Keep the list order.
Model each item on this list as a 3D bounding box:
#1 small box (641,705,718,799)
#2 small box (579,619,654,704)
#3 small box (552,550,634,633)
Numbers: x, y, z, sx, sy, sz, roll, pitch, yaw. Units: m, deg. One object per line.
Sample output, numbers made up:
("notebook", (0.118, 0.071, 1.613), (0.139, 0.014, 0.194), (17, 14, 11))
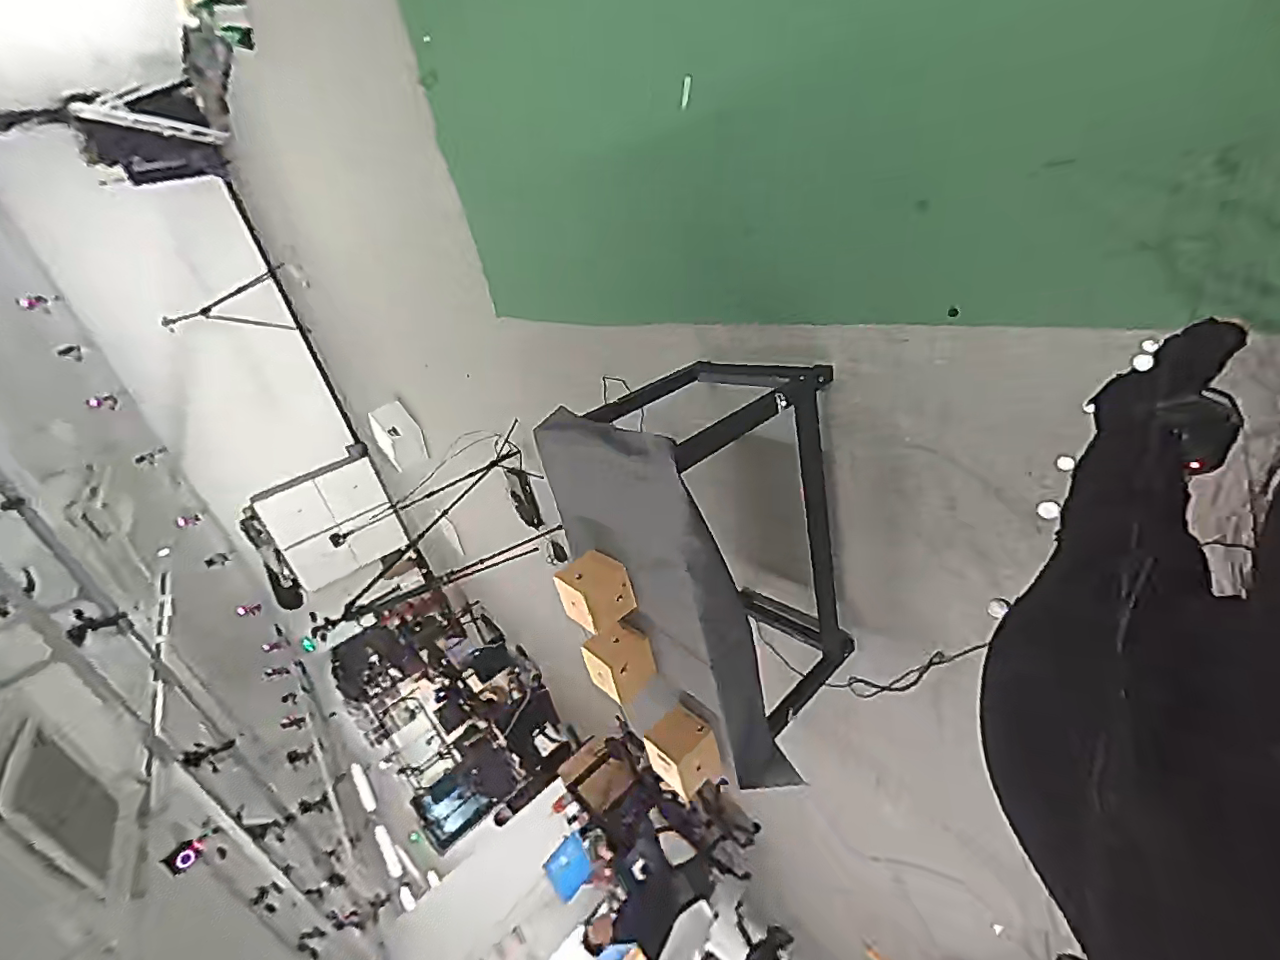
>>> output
("small box", (0.132, 0.871, 1.752), (0.168, 0.176, 0.179), (18, 131, 49))
("small box", (-0.075, 0.602, 1.819), (0.168, 0.176, 0.179), (19, 131, 46))
("small box", (-0.146, 0.344, 1.710), (0.179, 0.176, 0.168), (17, 129, 48))
